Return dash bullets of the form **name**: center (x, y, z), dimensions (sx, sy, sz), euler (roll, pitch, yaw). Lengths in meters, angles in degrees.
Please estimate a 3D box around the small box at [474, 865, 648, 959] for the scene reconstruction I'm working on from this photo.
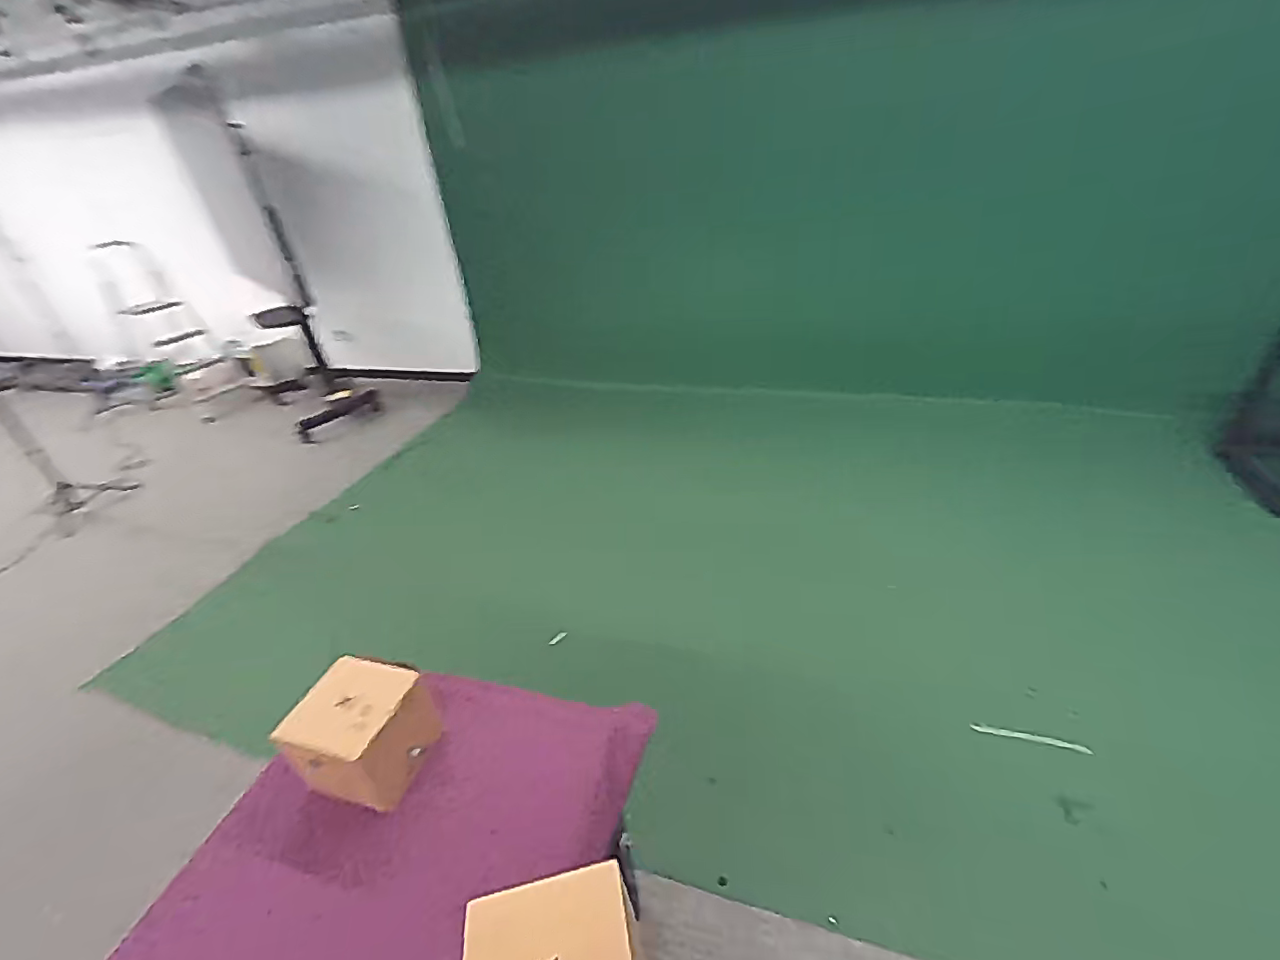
- **small box**: center (-0.070, 0.544, 0.550), dimensions (0.168, 0.176, 0.179), euler (-11, 32, -6)

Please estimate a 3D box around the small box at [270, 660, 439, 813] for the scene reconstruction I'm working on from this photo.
- **small box**: center (-0.491, 0.452, 0.956), dimensions (0.179, 0.176, 0.168), euler (6, 36, 16)
